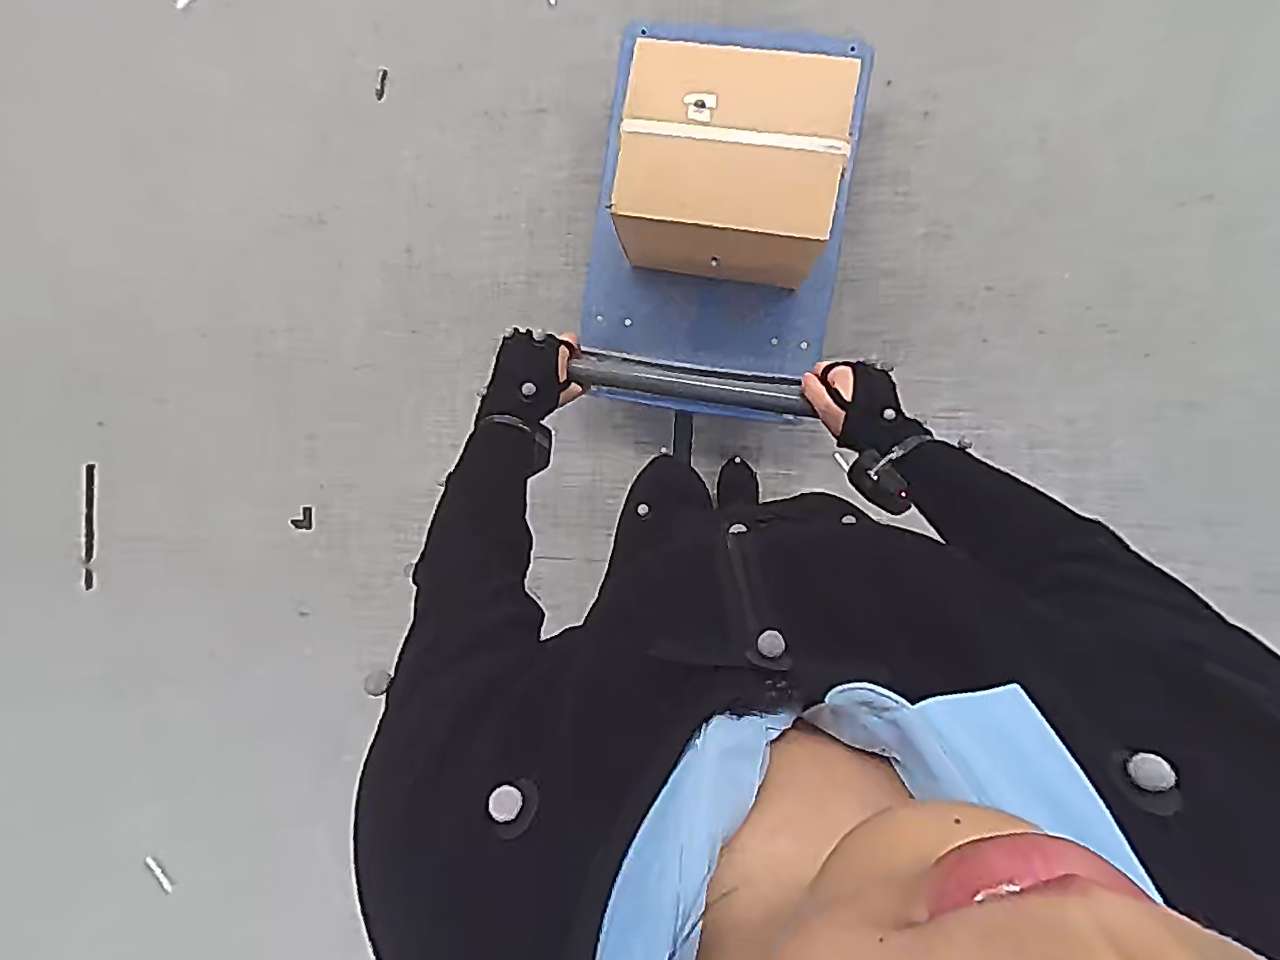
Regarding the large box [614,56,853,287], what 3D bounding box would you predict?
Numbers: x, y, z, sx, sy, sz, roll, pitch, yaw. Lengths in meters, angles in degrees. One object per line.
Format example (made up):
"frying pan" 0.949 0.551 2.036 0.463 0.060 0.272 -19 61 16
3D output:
"large box" 0.186 -0.621 1.143 0.408 0.320 0.320 10 94 7
